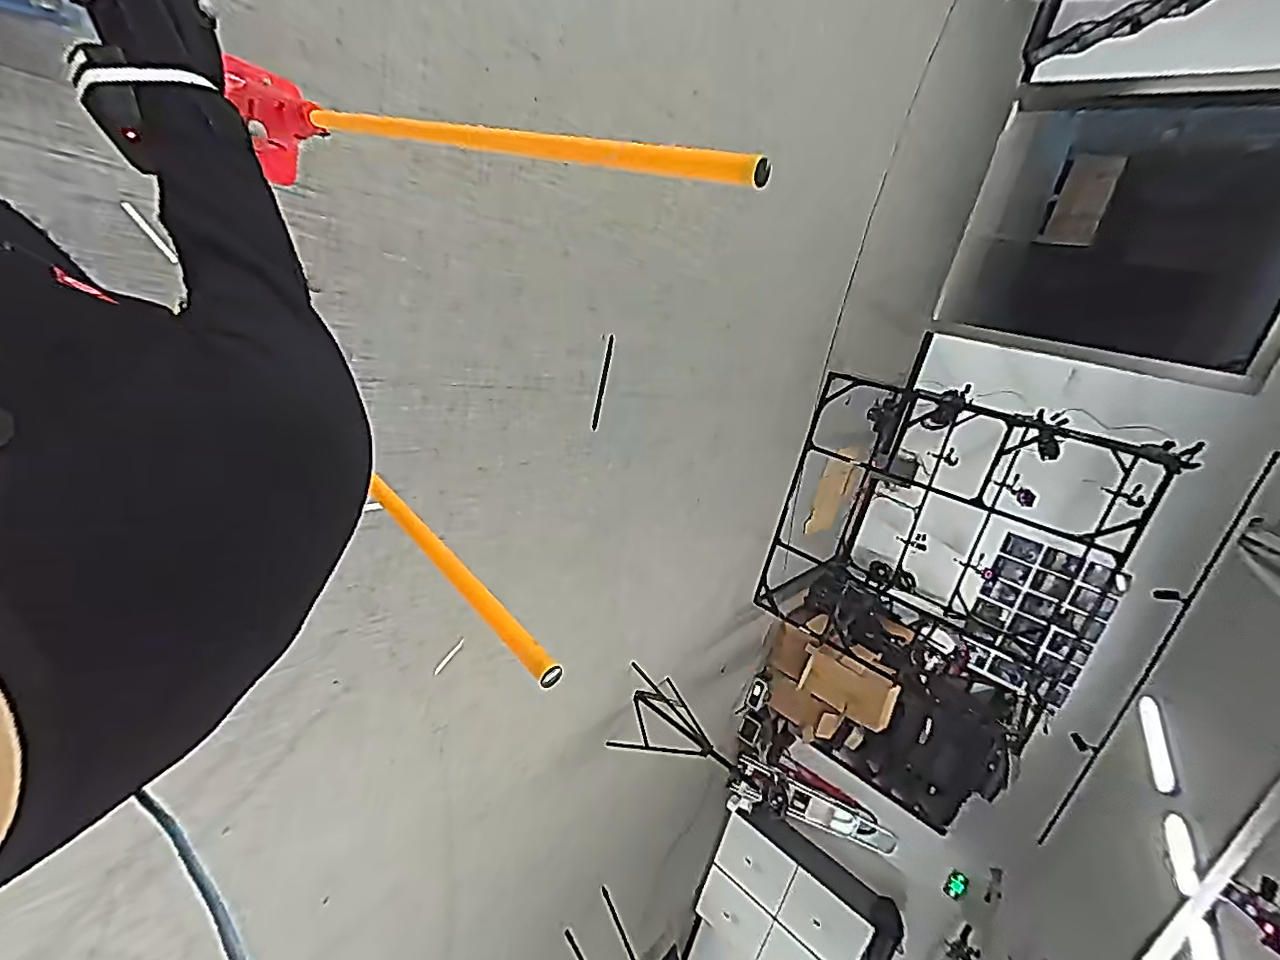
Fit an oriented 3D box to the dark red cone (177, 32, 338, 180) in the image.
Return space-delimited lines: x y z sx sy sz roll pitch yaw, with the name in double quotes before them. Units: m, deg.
"dark red cone" -0.664 -0.674 0.986 0.201 0.394 0.202 -9 119 -54
